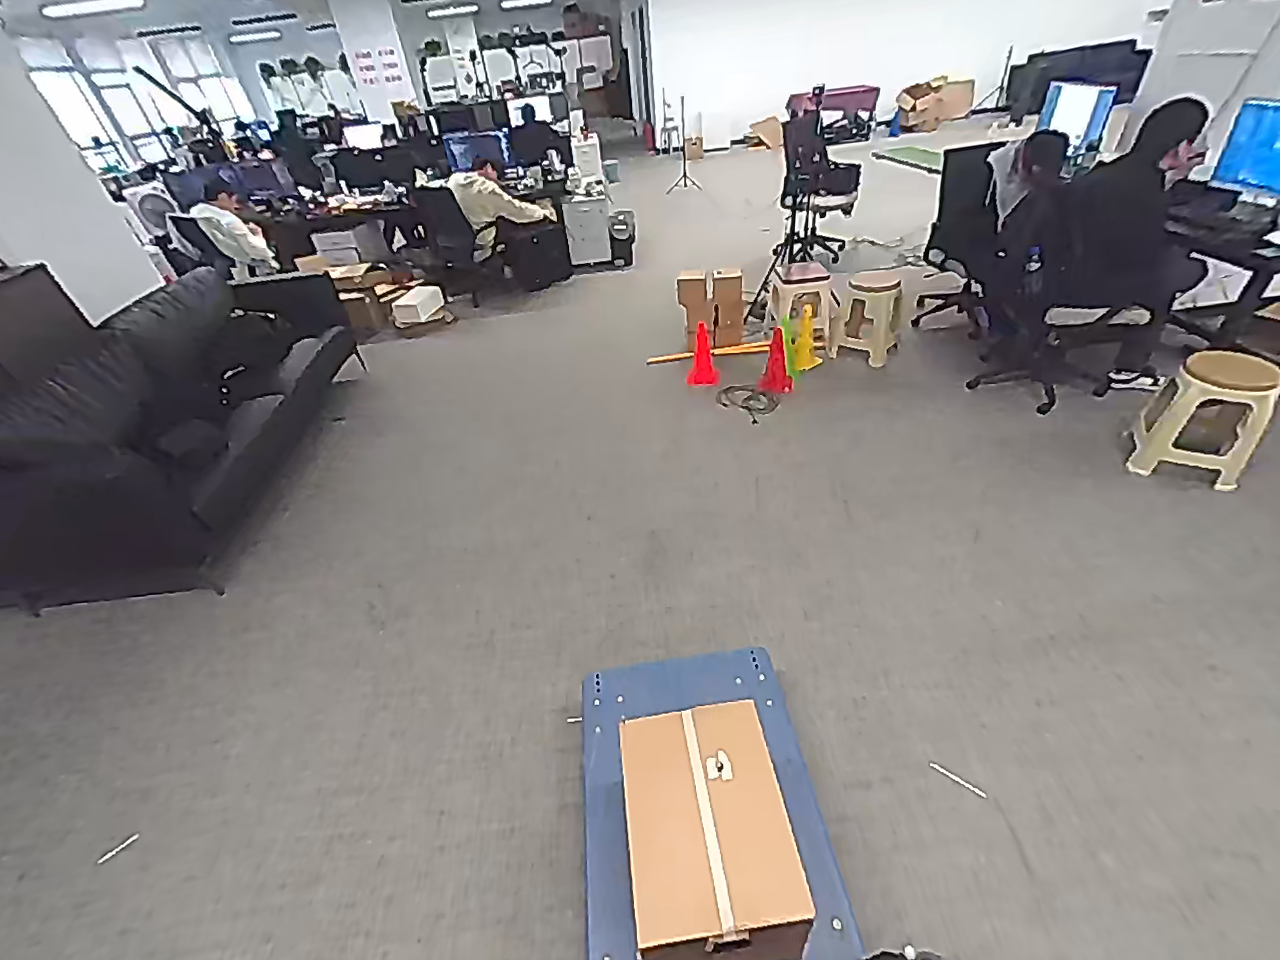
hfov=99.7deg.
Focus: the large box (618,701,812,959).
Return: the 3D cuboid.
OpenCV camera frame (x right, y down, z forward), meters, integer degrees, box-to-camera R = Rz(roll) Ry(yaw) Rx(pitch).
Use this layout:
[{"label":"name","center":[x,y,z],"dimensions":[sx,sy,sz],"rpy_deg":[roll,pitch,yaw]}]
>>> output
[{"label":"large box","center":[0.144,0.769,1.176],"dimensions":[0.320,0.320,0.408],"rpy_deg":[-9,38,-1]}]
